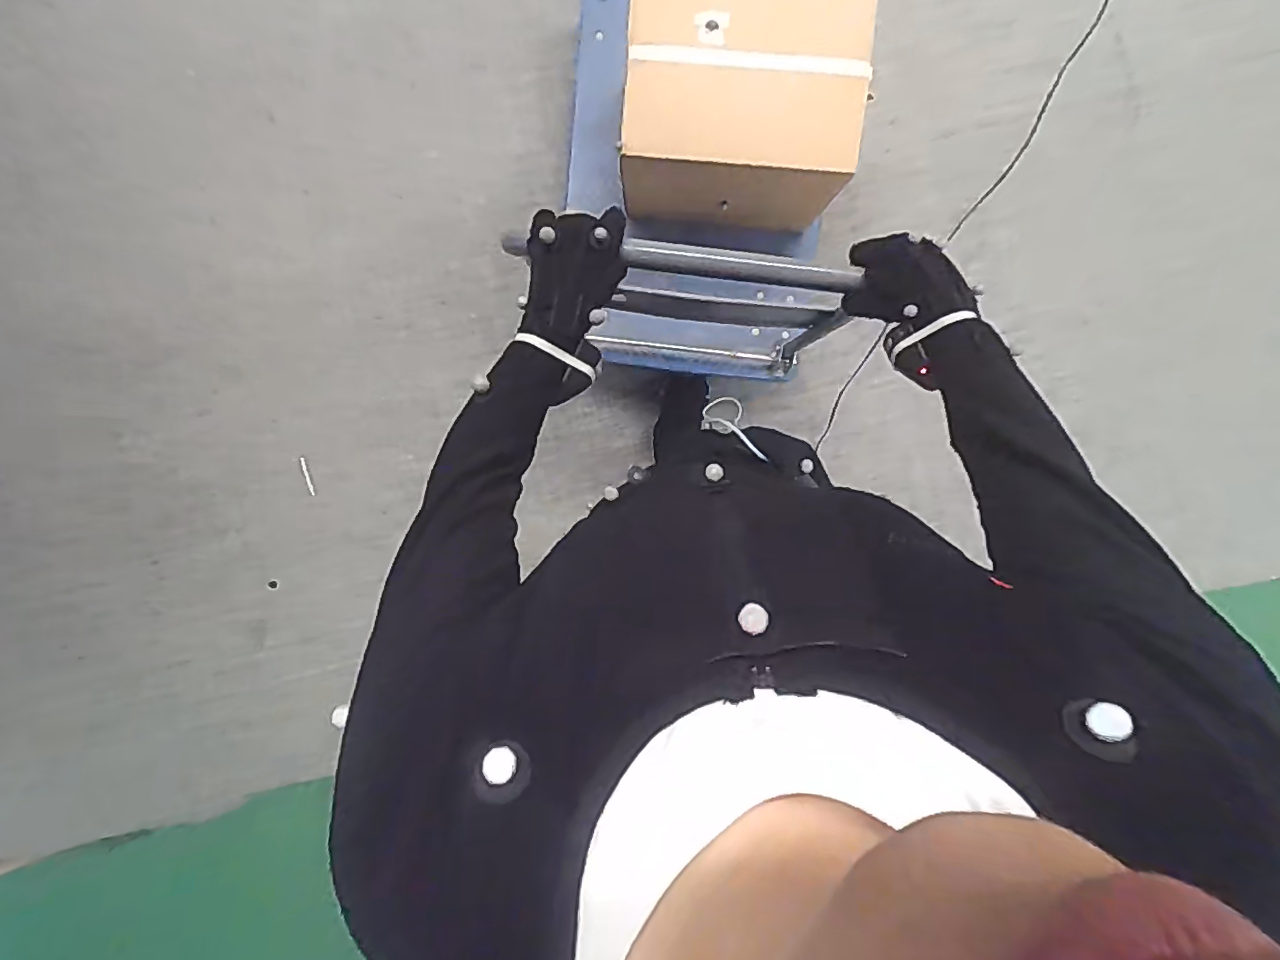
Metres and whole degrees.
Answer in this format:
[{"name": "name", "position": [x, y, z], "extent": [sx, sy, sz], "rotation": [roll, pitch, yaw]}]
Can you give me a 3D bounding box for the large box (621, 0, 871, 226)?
[{"name": "large box", "position": [0.182, -0.712, 1.054], "extent": [0.408, 0.320, 0.320], "rotation": [5, 97, 2]}]
